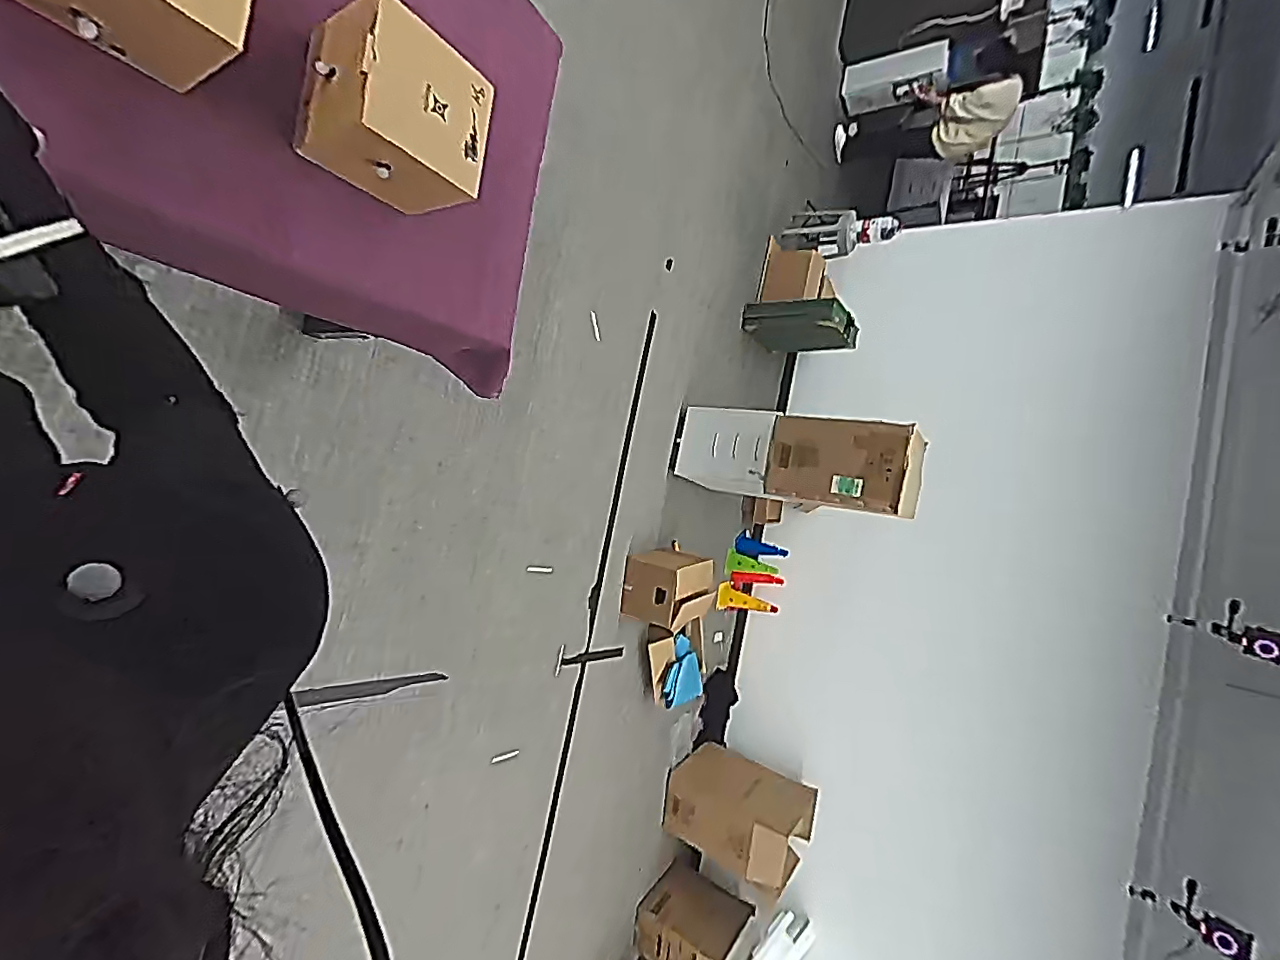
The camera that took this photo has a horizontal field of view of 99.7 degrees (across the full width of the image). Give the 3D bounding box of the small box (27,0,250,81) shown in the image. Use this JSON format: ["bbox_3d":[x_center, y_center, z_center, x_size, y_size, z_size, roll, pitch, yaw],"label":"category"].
[{"bbox_3d":[-0.485,-0.528,0.504,0.168,0.176,0.179,12,89,-57],"label":"small box"}]

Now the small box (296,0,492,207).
[{"bbox_3d":[-0.336,-0.500,0.741,0.179,0.176,0.168,10,89,-56],"label":"small box"}]
